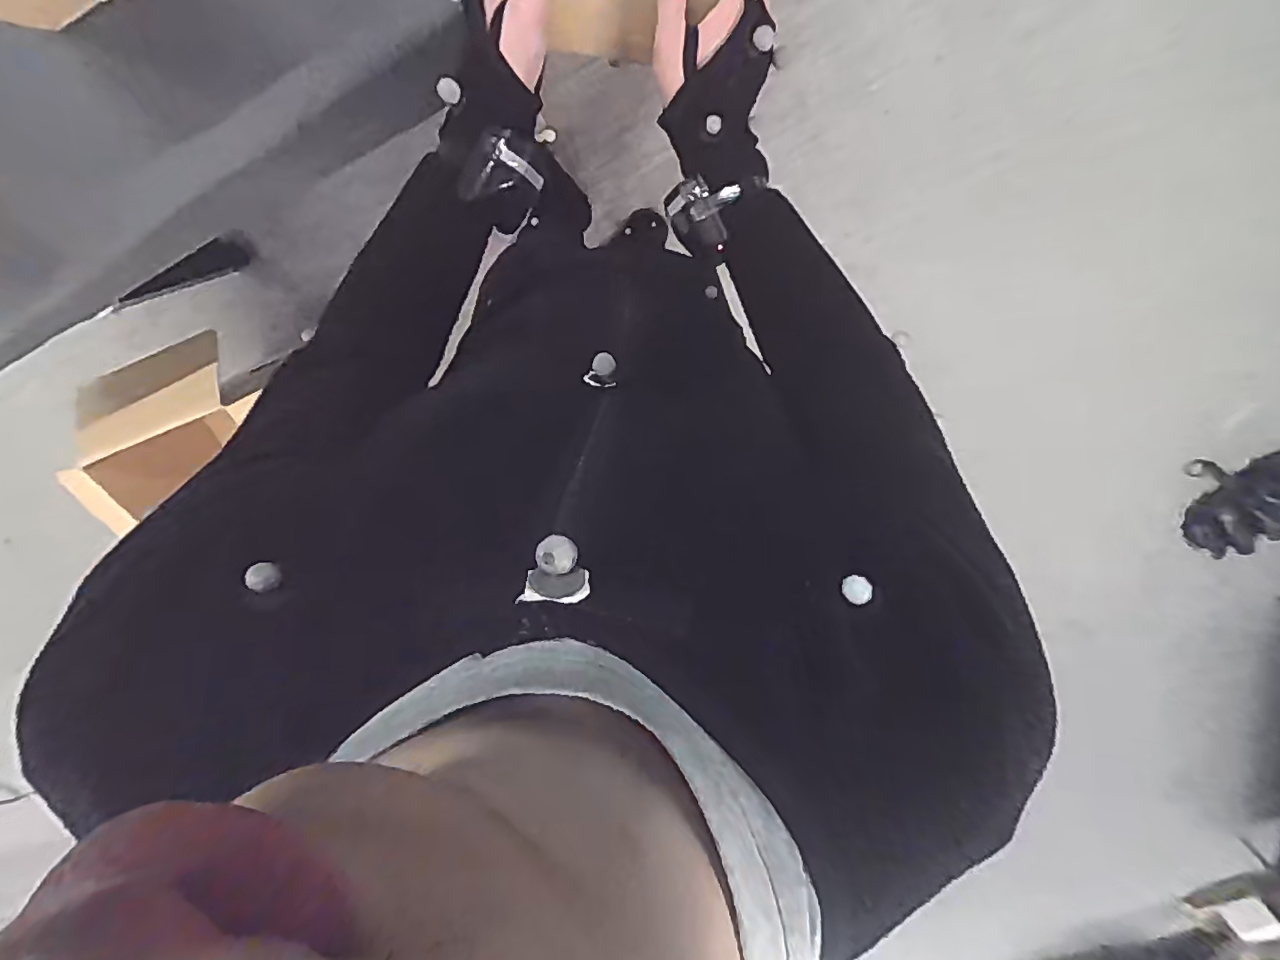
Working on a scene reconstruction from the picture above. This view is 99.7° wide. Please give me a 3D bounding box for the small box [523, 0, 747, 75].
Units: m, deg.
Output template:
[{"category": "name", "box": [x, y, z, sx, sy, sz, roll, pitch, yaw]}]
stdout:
[{"category": "small box", "box": [0.006, -0.463, 0.442, 0.179, 0.176, 0.168, 7, 138, -5]}]
